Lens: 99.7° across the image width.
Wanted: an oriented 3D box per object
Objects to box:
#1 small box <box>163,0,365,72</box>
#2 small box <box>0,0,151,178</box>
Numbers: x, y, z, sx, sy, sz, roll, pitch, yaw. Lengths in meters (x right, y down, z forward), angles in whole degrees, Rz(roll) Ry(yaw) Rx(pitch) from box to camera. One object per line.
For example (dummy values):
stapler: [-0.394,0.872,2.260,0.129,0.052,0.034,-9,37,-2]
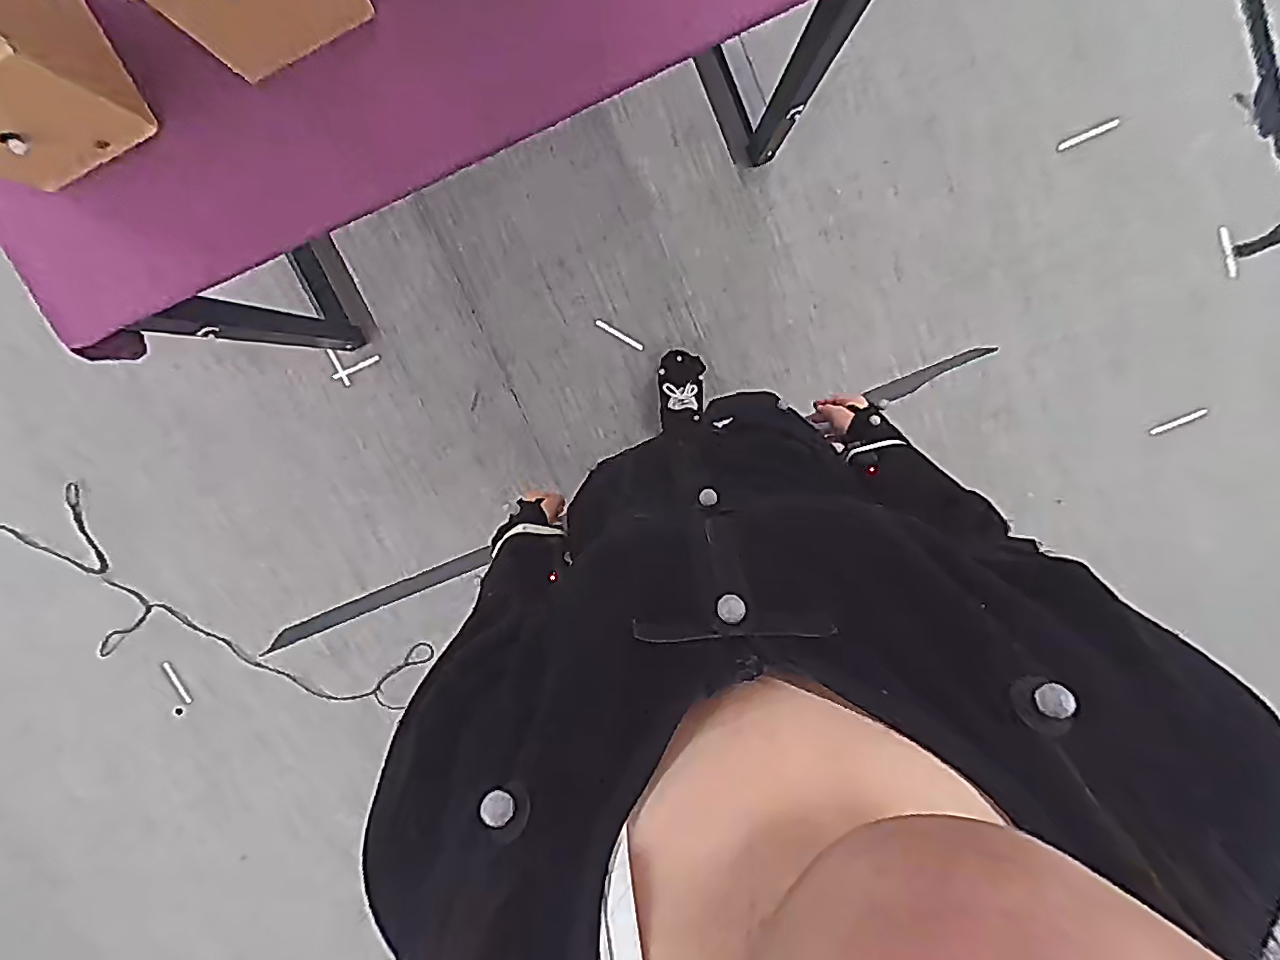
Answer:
small box: [-0.427,-0.575,0.555,0.179,0.176,0.168,-25,100,3]
small box: [-0.695,-0.454,0.574,0.168,0.176,0.179,-27,99,4]
